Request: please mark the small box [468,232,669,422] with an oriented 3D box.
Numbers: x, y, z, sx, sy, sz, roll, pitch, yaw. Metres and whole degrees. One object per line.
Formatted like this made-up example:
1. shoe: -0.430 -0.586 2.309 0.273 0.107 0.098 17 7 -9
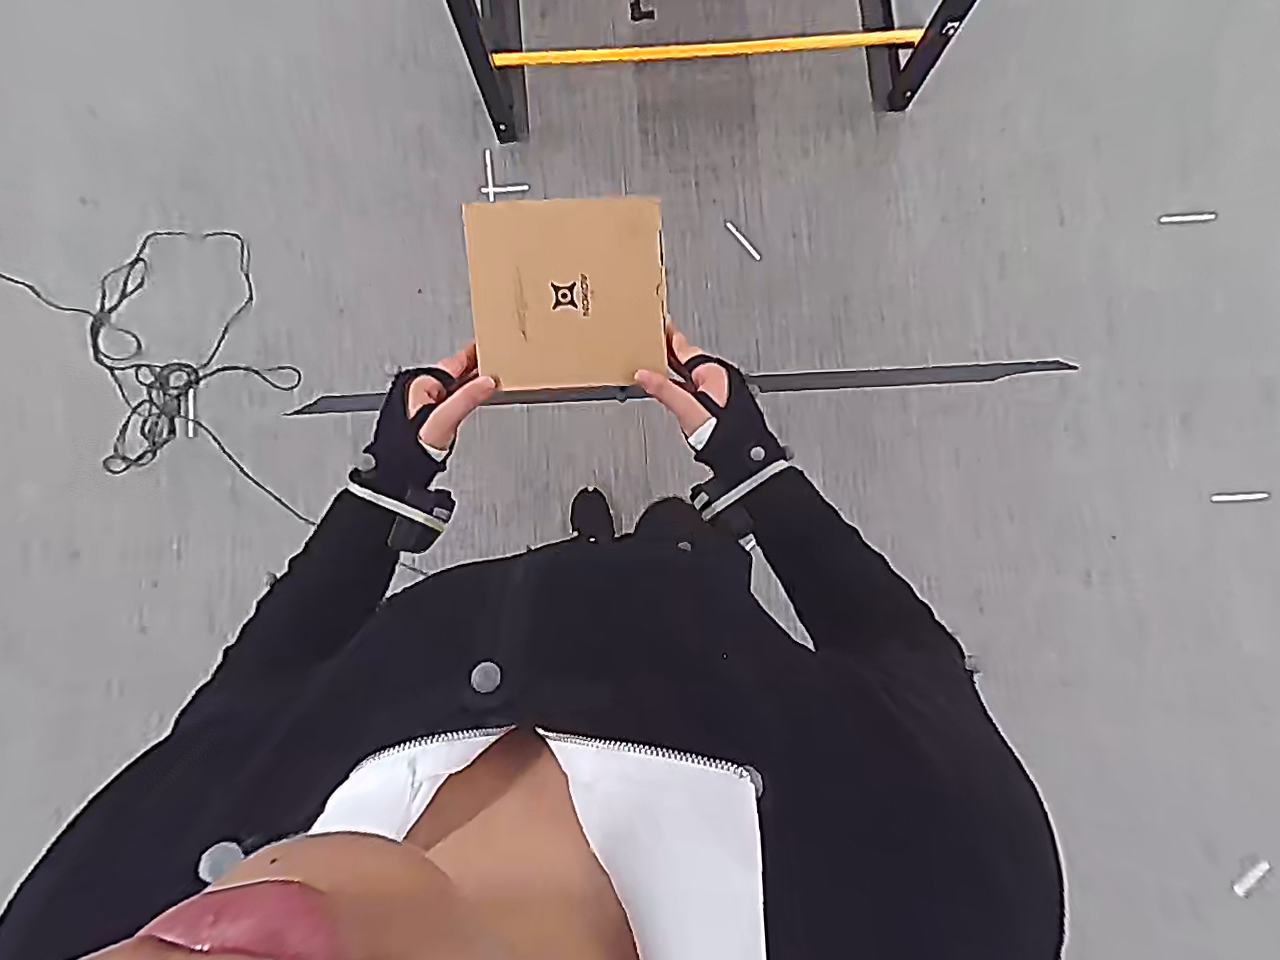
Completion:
1. small box: -0.067 -0.151 0.575 0.179 0.176 0.168 -4 98 -1
